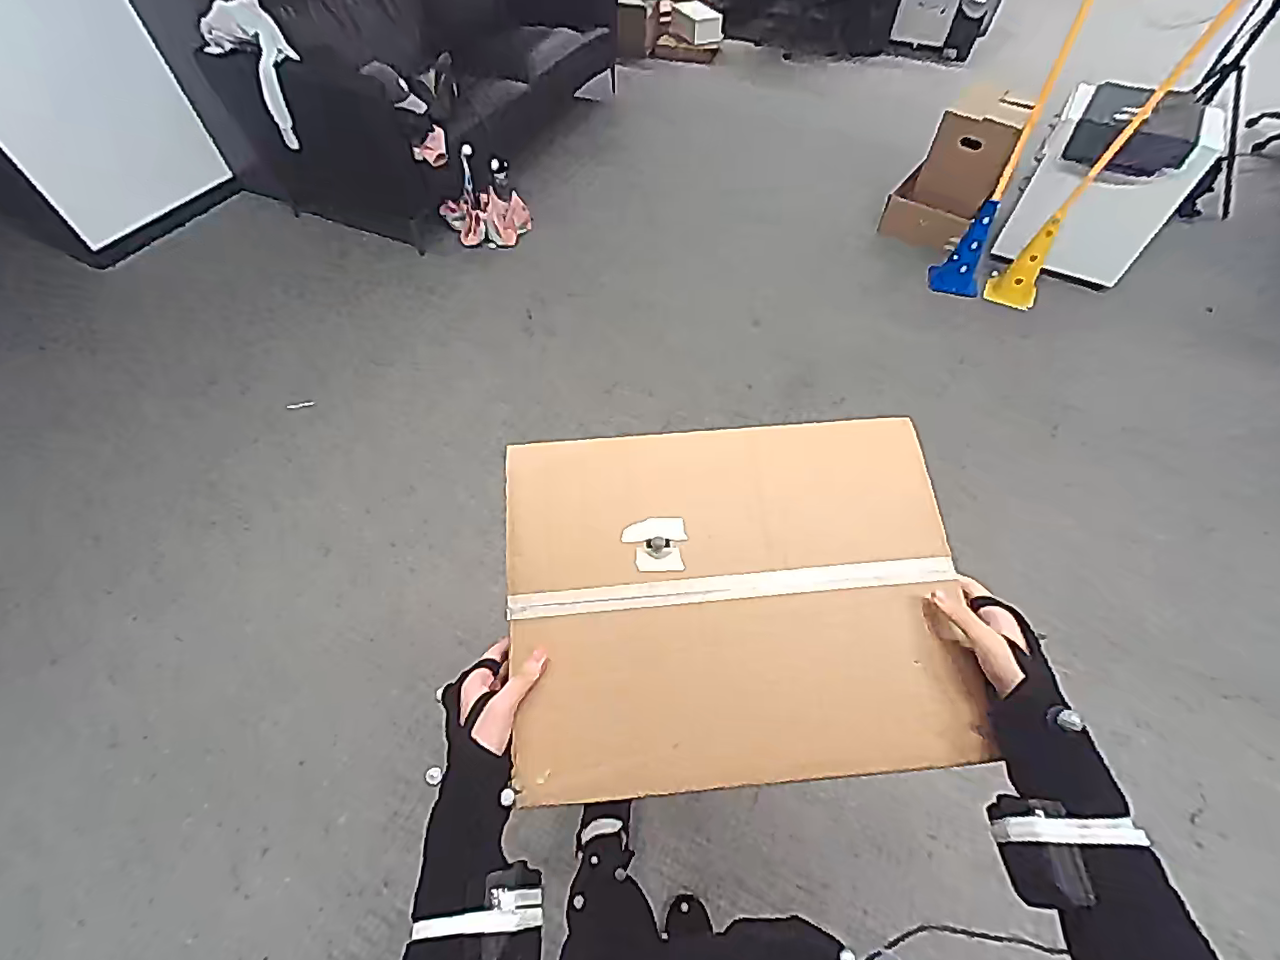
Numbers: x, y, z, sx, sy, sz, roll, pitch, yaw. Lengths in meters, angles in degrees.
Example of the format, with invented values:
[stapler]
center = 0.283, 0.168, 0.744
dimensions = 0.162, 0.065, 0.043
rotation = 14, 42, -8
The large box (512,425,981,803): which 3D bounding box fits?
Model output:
[large box]
center = 0.085, 0.154, 0.645
dimensions = 0.408, 0.320, 0.320
rotation = -5, 70, -1
